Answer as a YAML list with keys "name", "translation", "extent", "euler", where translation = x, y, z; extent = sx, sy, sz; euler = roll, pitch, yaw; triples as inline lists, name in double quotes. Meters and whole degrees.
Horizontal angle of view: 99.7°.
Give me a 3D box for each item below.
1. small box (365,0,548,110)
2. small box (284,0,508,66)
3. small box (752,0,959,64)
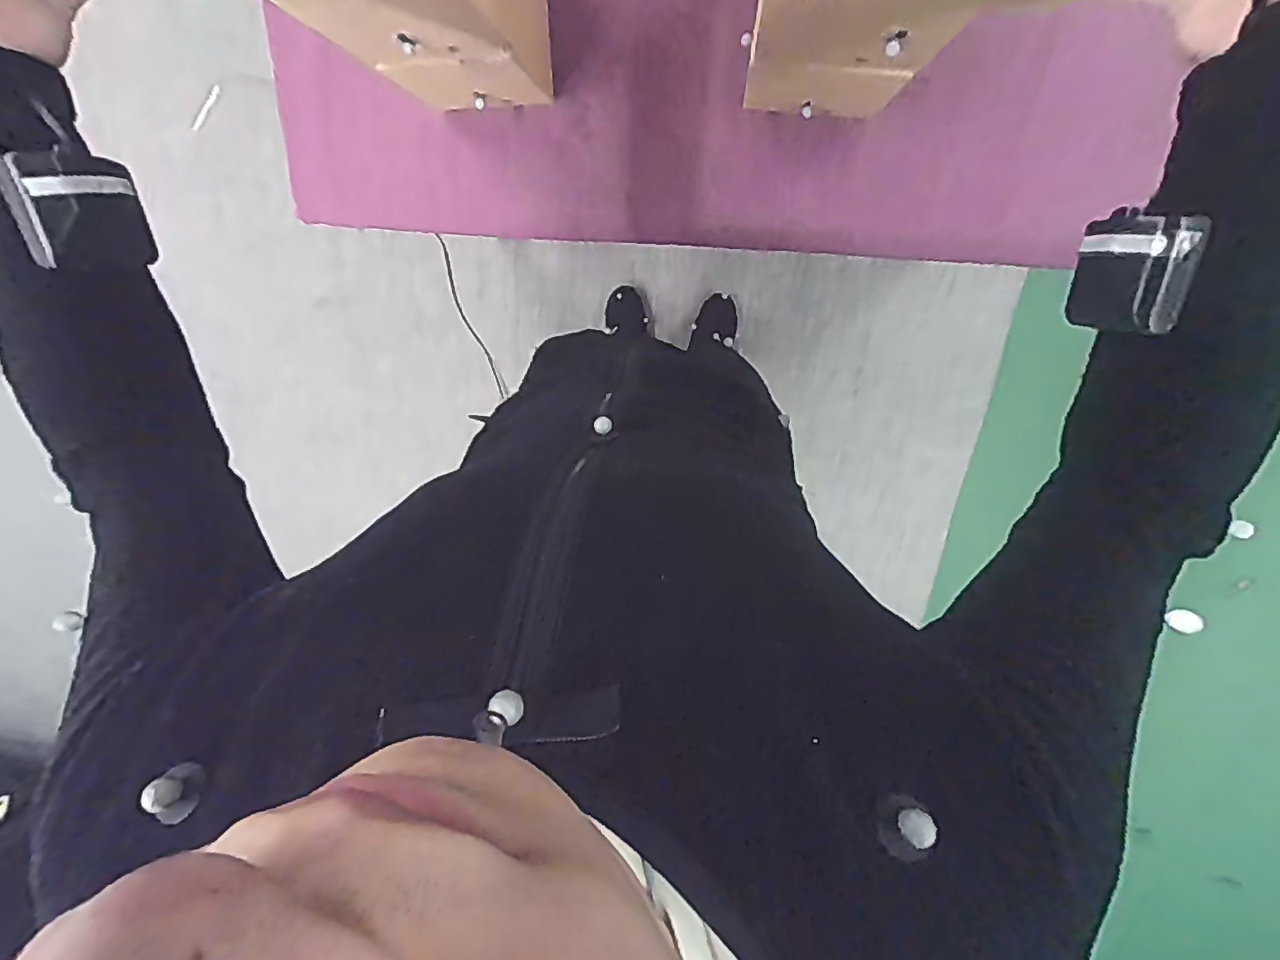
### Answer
- name: "small box"
  translation: [-0.215, -0.569, 0.641]
  extent: [0.168, 0.176, 0.179]
  euler: [2, 111, 8]
- name: "small box"
  translation: [-0.234, -0.516, 0.489]
  extent: [0.168, 0.176, 0.179]
  euler: [-1, 111, 8]
- name: "small box"
  translation: [0.187, -0.471, 0.441]
  extent: [0.168, 0.176, 0.179]
  euler: [8, 112, 6]
